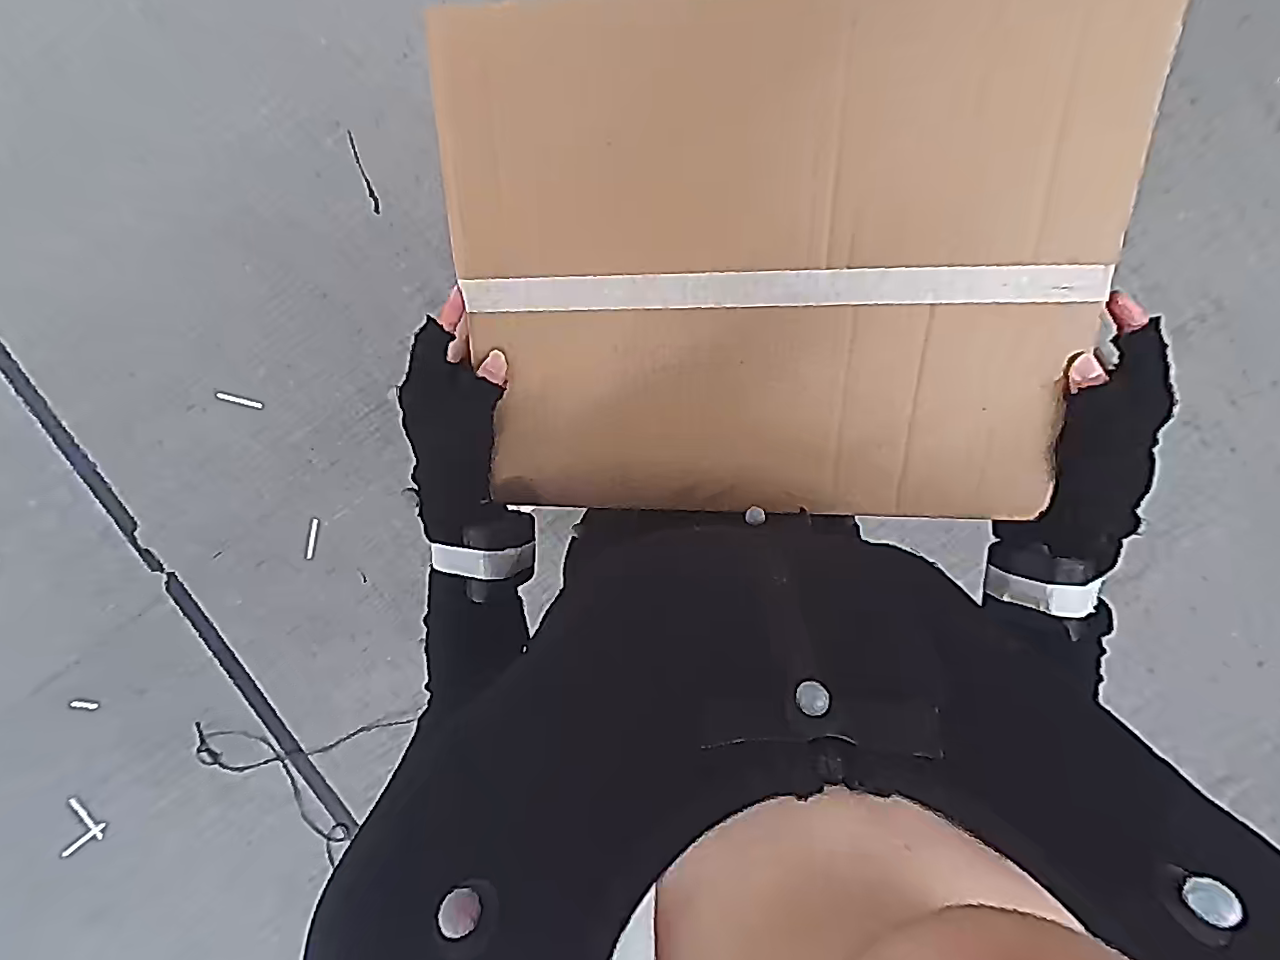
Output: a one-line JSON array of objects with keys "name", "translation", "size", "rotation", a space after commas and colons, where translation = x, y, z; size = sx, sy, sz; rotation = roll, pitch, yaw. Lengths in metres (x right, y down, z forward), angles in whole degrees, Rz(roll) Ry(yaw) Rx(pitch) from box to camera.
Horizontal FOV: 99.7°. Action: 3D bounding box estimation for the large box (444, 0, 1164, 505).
[{"name": "large box", "translation": [0.095, -0.180, 0.493], "size": [0.408, 0.320, 0.320], "rotation": [1, 113, 6]}]
